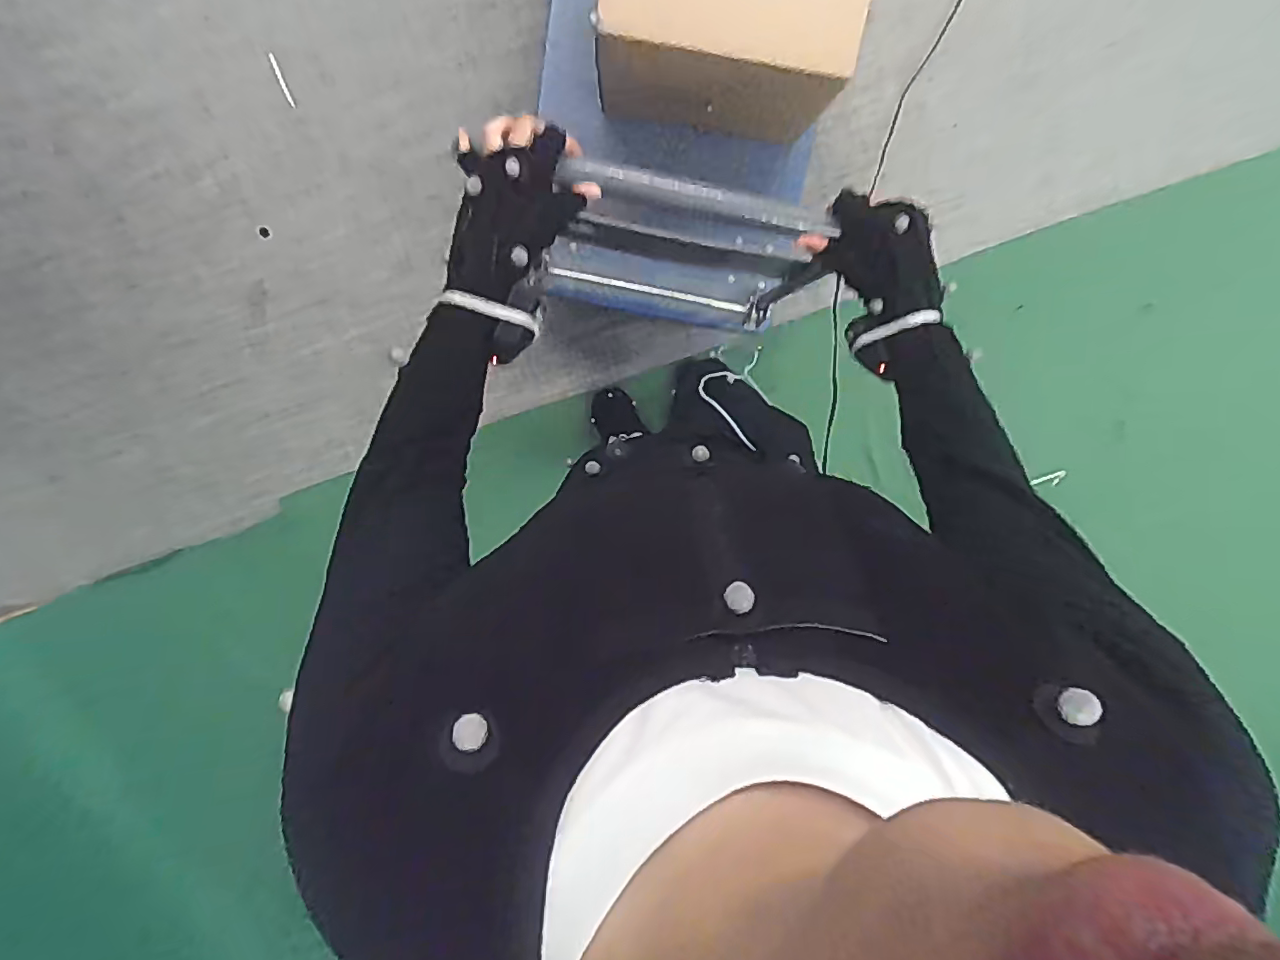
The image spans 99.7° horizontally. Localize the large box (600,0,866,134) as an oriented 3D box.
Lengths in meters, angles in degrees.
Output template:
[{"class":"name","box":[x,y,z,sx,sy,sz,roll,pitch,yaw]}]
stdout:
[{"class":"large box","box":[0.152,-0.843,0.936,0.408,0.320,0.320,7,104,-3]}]
